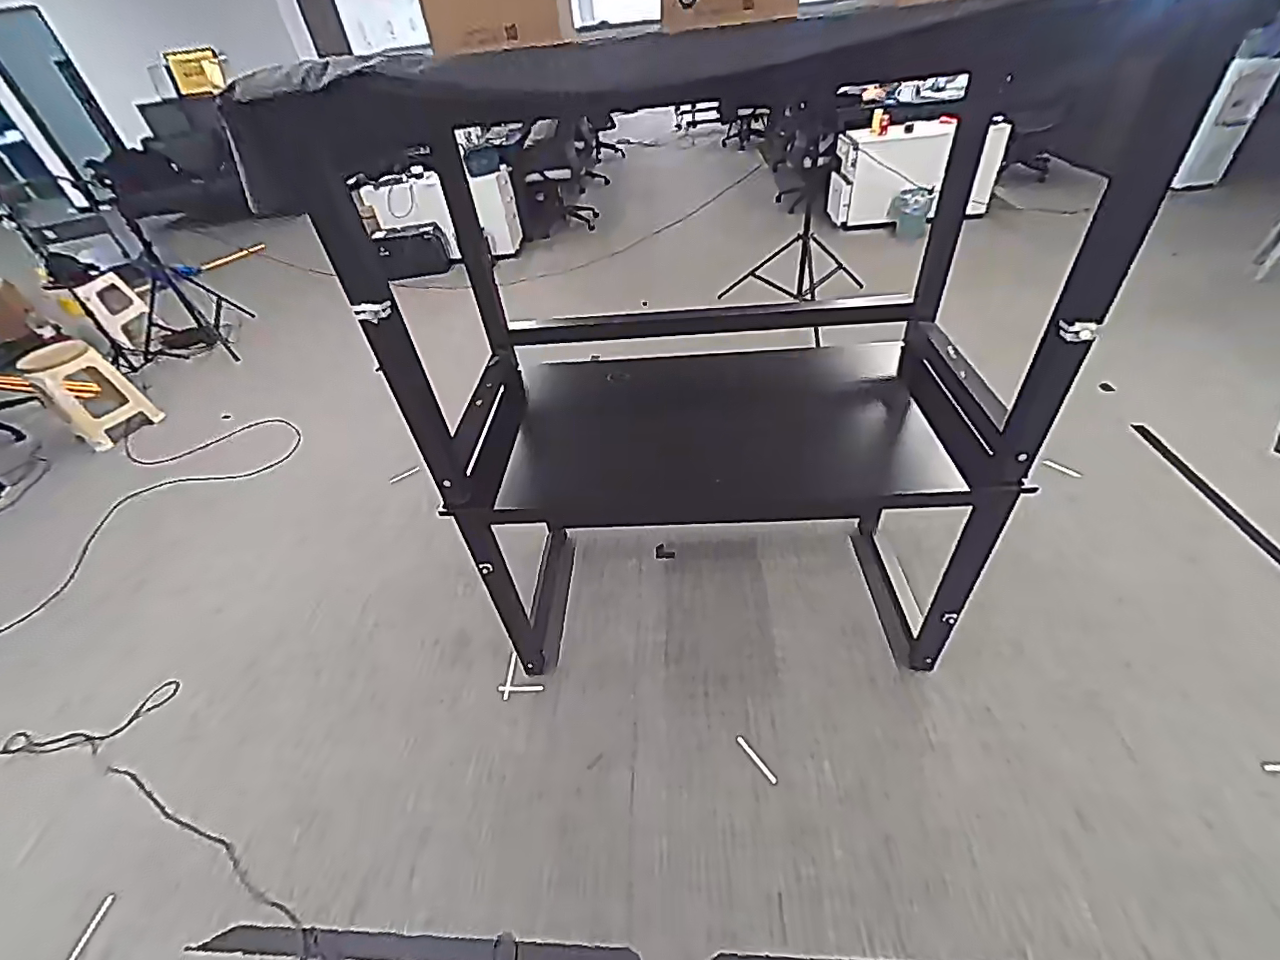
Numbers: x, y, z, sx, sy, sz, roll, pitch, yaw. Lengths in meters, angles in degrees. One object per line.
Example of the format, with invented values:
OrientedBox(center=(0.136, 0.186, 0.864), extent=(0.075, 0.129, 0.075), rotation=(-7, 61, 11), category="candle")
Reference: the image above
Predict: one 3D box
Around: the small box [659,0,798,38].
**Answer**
OrientedBox(center=(0.104, -0.659, 0.660), extent=(0.168, 0.176, 0.179), rotation=(-2, 39, 5), category="small box")

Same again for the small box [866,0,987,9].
OrientedBox(center=(0.377, -0.671, 0.634), extent=(0.168, 0.176, 0.179), rotation=(-2, 41, 8), category="small box")
